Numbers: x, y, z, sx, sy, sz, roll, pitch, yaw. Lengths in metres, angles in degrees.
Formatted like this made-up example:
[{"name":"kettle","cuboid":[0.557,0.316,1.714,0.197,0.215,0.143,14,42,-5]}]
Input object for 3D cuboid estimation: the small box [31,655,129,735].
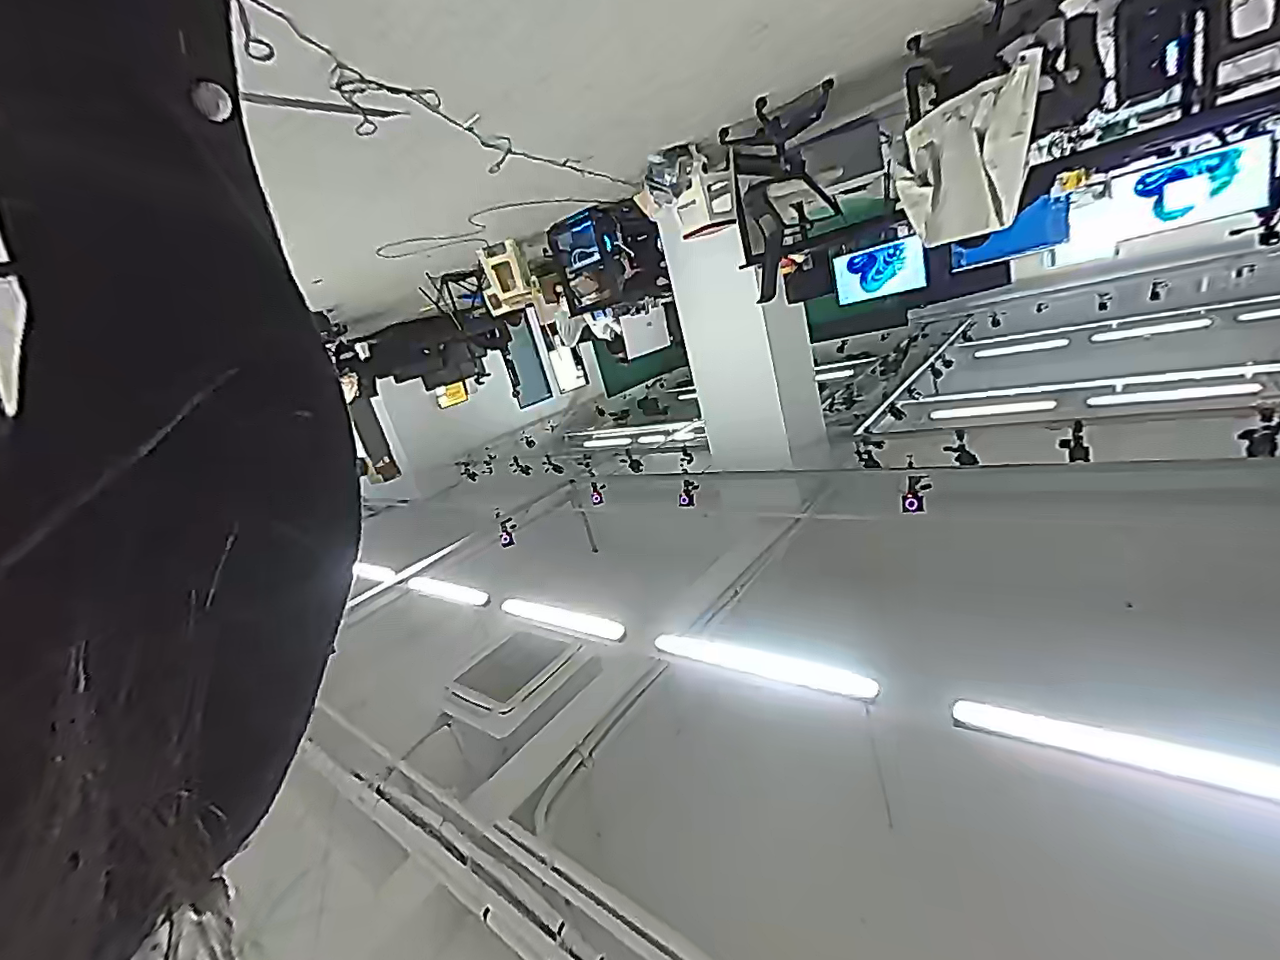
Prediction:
[{"name":"small box","cuboid":[-1.871,0.713,1.806,0.179,0.176,0.168,-1,-158,36]}]
